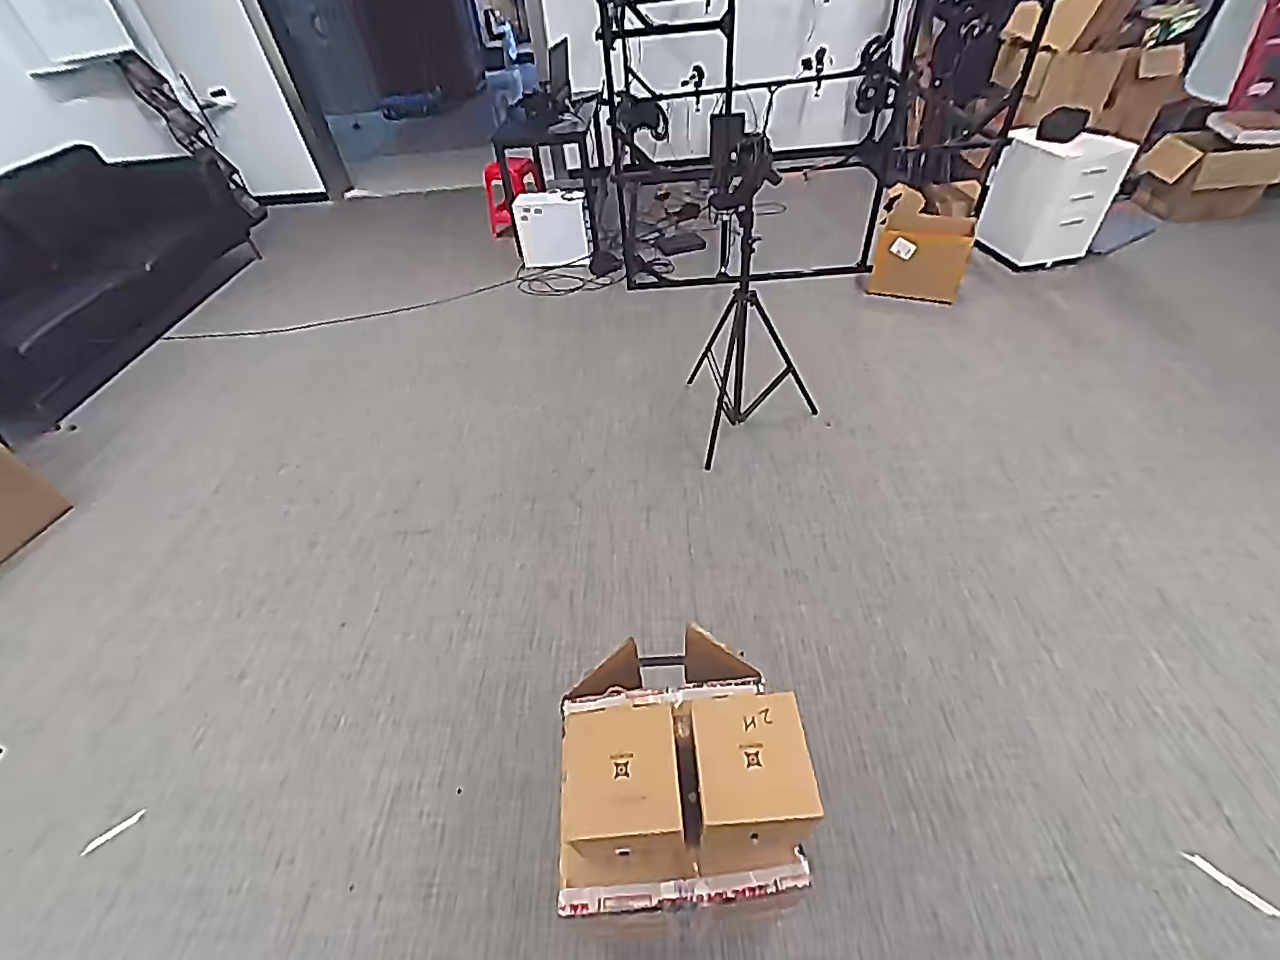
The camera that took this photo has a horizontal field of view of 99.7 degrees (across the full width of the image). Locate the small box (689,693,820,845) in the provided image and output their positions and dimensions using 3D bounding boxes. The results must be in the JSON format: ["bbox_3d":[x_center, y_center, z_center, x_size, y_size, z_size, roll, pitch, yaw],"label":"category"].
[{"bbox_3d":[0.168,0.461,0.854,0.168,0.176,0.179,-4,46,0],"label":"small box"}]

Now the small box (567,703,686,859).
[{"bbox_3d":[-0.019,0.478,0.858,0.168,0.176,0.179,-7,48,1],"label":"small box"}]
